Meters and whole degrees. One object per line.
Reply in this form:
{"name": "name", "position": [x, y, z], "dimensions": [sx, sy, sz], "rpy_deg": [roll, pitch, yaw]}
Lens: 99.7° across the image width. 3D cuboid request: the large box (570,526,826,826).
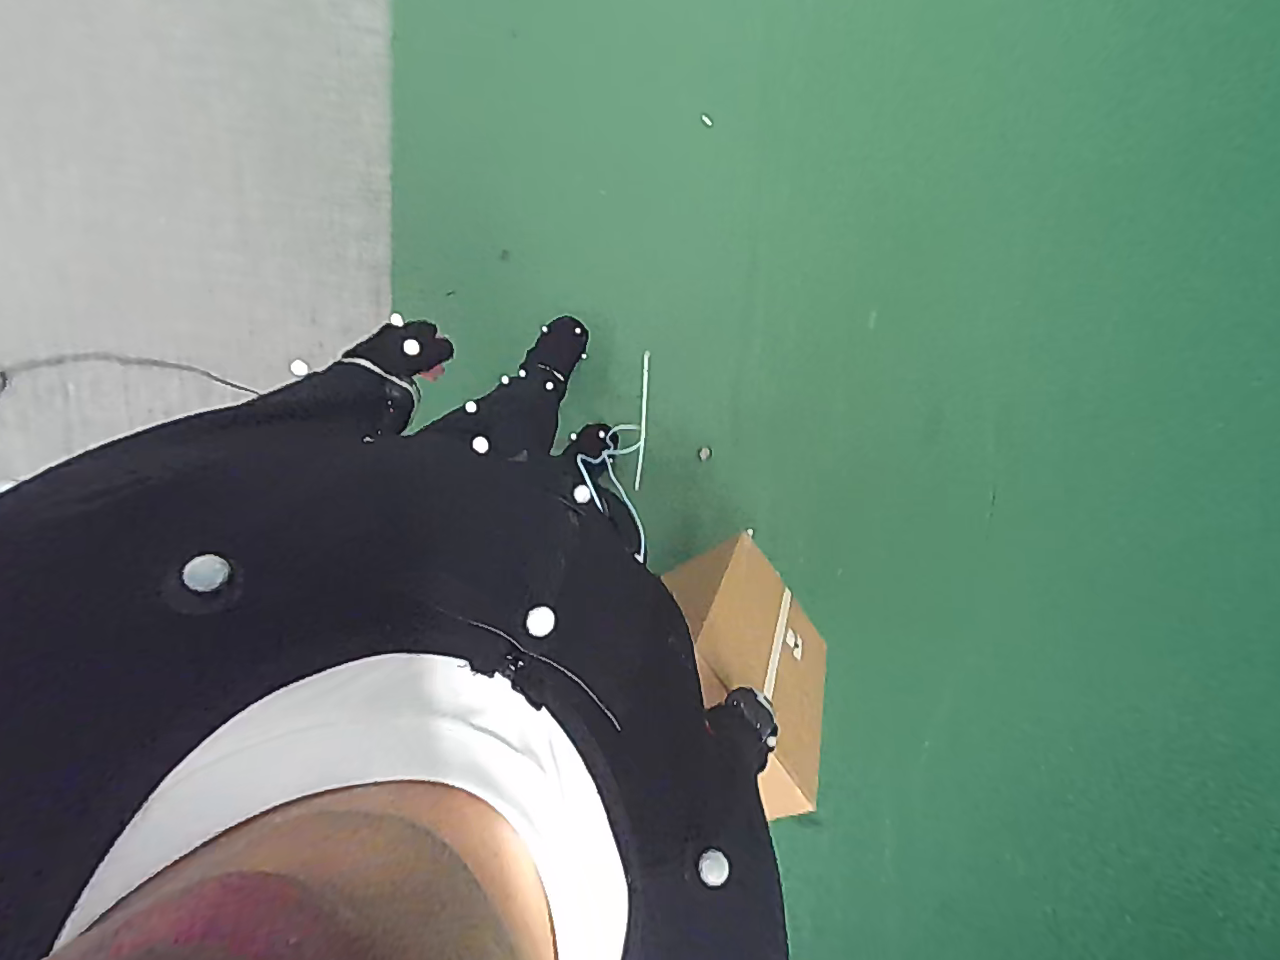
{"name": "large box", "position": [0.135, 0.359, 1.049], "dimensions": [0.320, 0.408, 0.320], "rpy_deg": [-34, 95, 29]}
